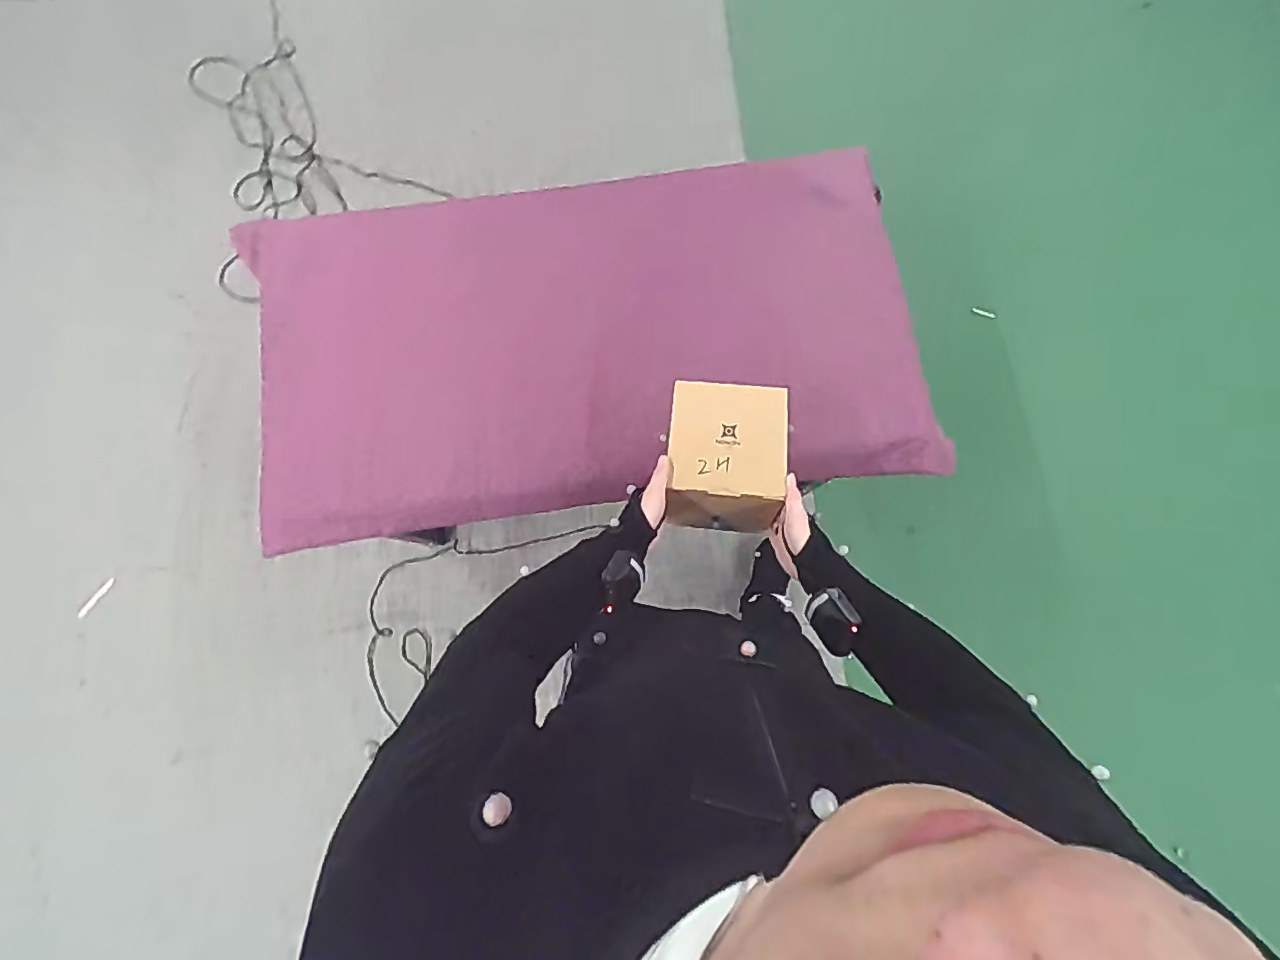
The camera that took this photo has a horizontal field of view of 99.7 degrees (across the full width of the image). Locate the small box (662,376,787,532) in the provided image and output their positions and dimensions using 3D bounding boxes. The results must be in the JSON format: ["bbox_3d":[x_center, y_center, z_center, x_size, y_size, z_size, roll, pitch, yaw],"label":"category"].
[{"bbox_3d":[0.124,-0.035,0.831,0.168,0.176,0.179,6,68,5],"label":"small box"}]
